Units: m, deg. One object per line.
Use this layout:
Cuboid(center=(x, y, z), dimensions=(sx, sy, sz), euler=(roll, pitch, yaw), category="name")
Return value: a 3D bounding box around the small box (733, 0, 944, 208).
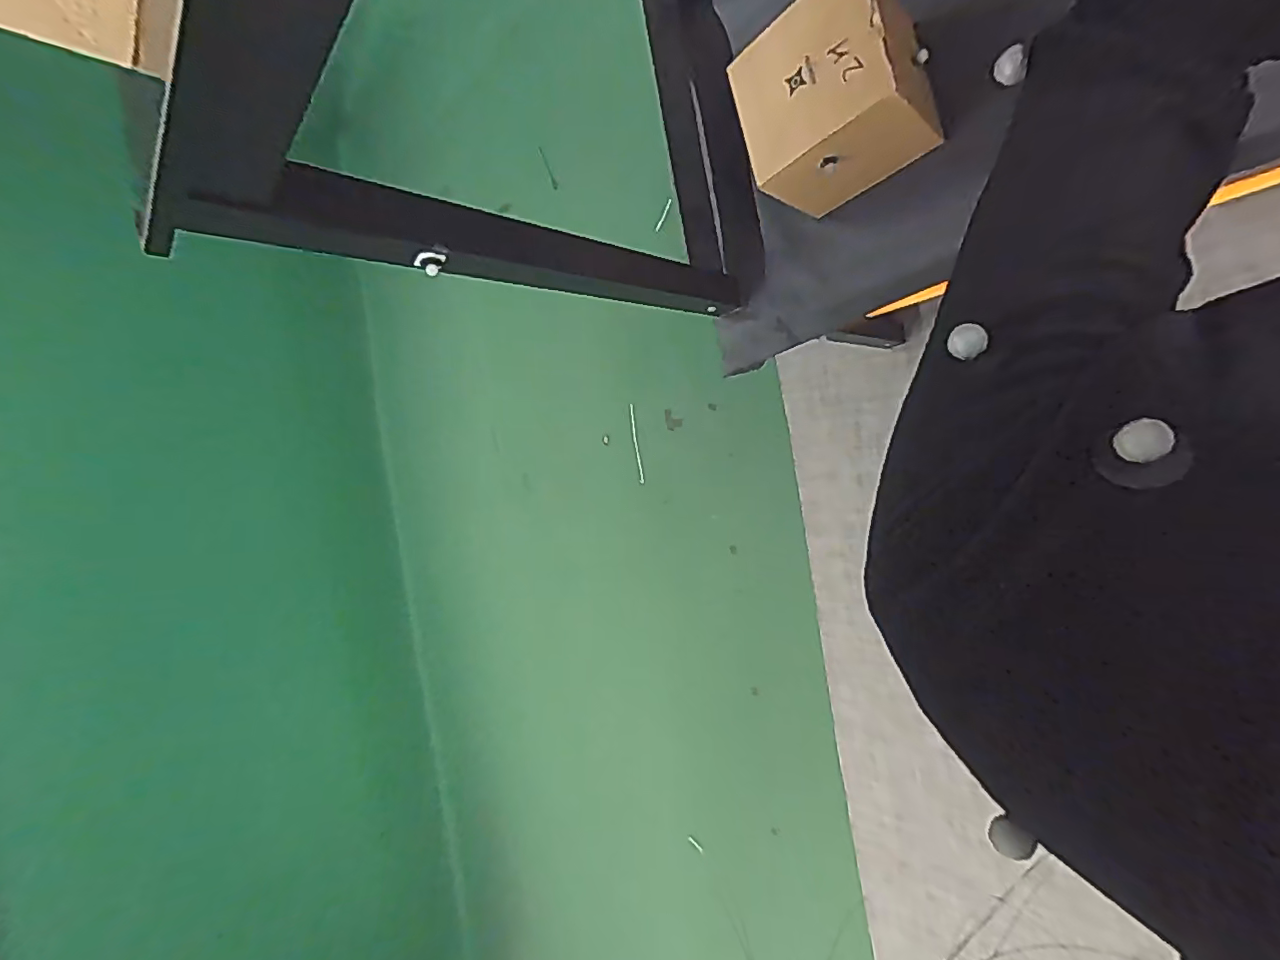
Cuboid(center=(0.250, -0.478, 0.682), dimensions=(0.179, 0.176, 0.168), euler=(-17, 85, 44), category="small box")
